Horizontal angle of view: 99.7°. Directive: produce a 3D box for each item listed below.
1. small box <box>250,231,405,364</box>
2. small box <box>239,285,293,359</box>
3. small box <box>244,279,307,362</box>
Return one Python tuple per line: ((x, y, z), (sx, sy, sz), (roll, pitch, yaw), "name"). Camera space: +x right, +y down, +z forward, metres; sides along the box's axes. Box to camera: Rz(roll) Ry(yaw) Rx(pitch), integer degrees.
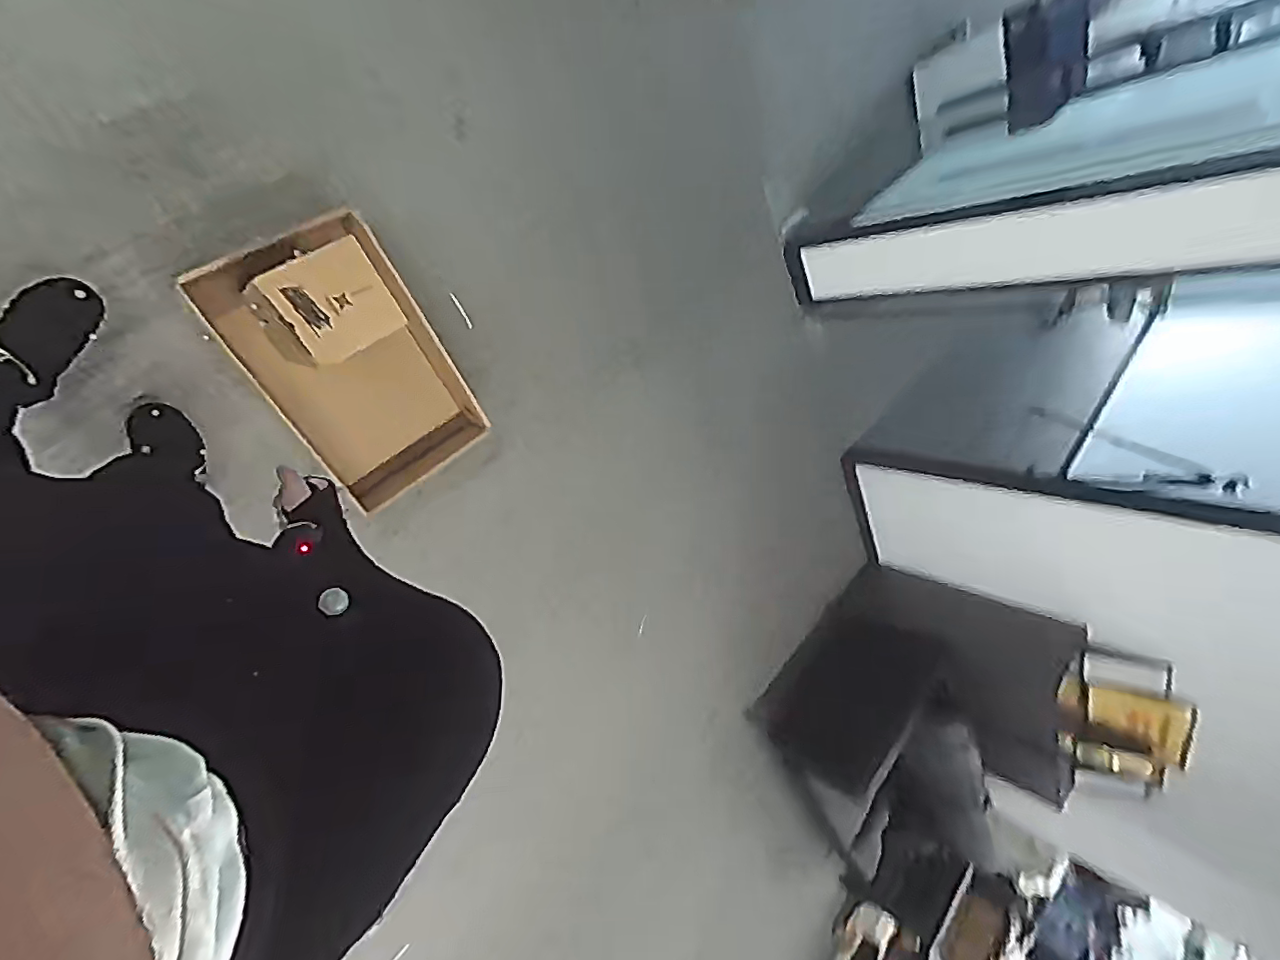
((-0.568, -0.323, 0.978), (0.179, 0.176, 0.168), (-42, 124, -25), "small box")
((-0.769, -0.390, 1.228), (0.179, 0.176, 0.168), (-40, 124, -26), "small box")
((-0.668, -0.356, 1.103), (0.179, 0.176, 0.168), (-39, 123, -25), "small box")
